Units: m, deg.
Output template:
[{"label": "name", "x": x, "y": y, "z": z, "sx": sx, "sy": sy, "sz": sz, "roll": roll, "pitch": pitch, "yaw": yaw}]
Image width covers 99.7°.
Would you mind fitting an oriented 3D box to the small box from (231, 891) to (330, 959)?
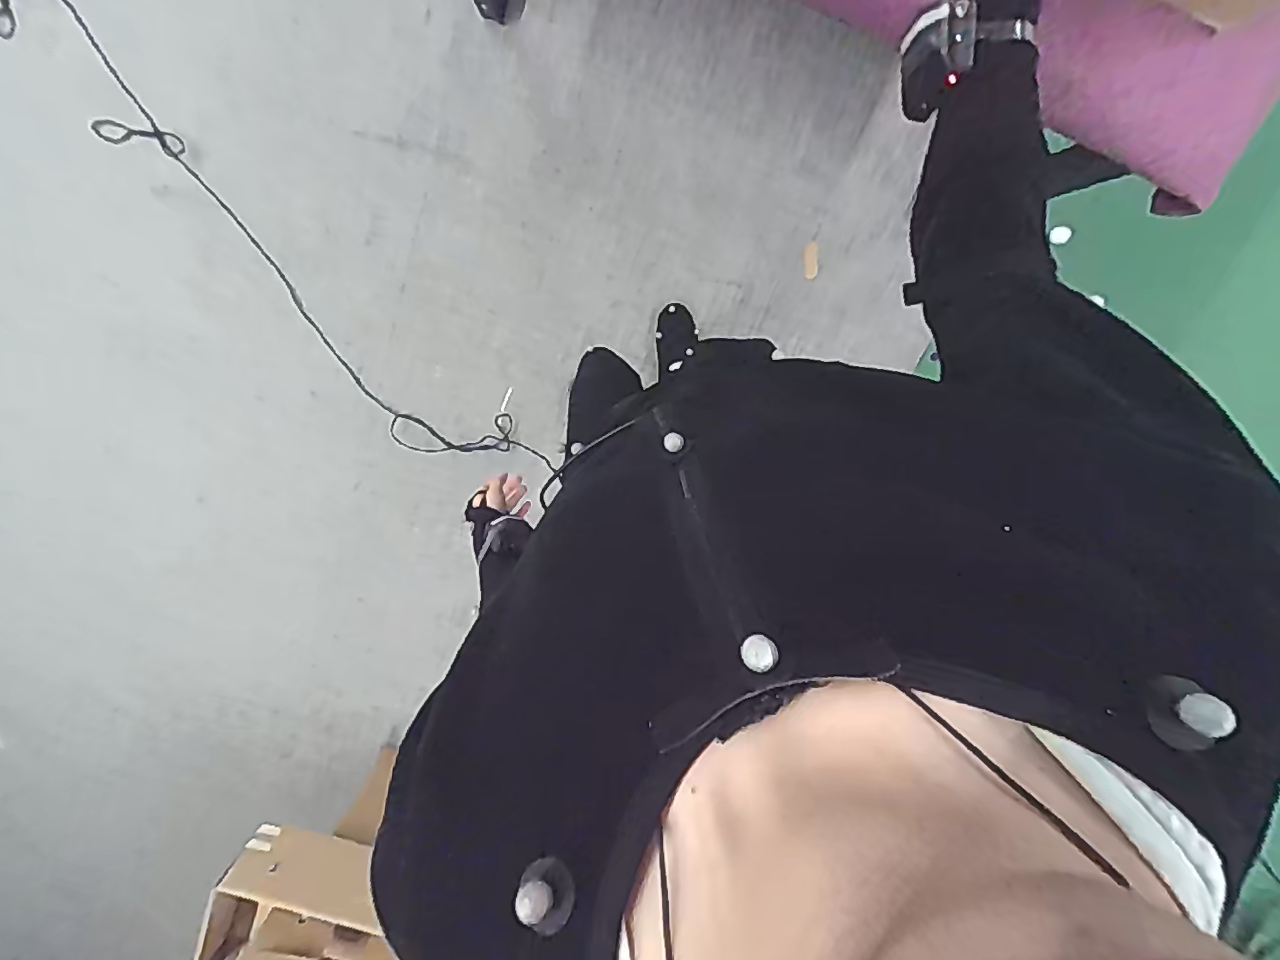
[{"label": "small box", "x": -0.915, "y": 1.184, "z": 1.351, "sx": 0.168, "sy": 0.176, "sz": 0.179, "roll": 31, "pitch": 103, "yaw": -10}]
